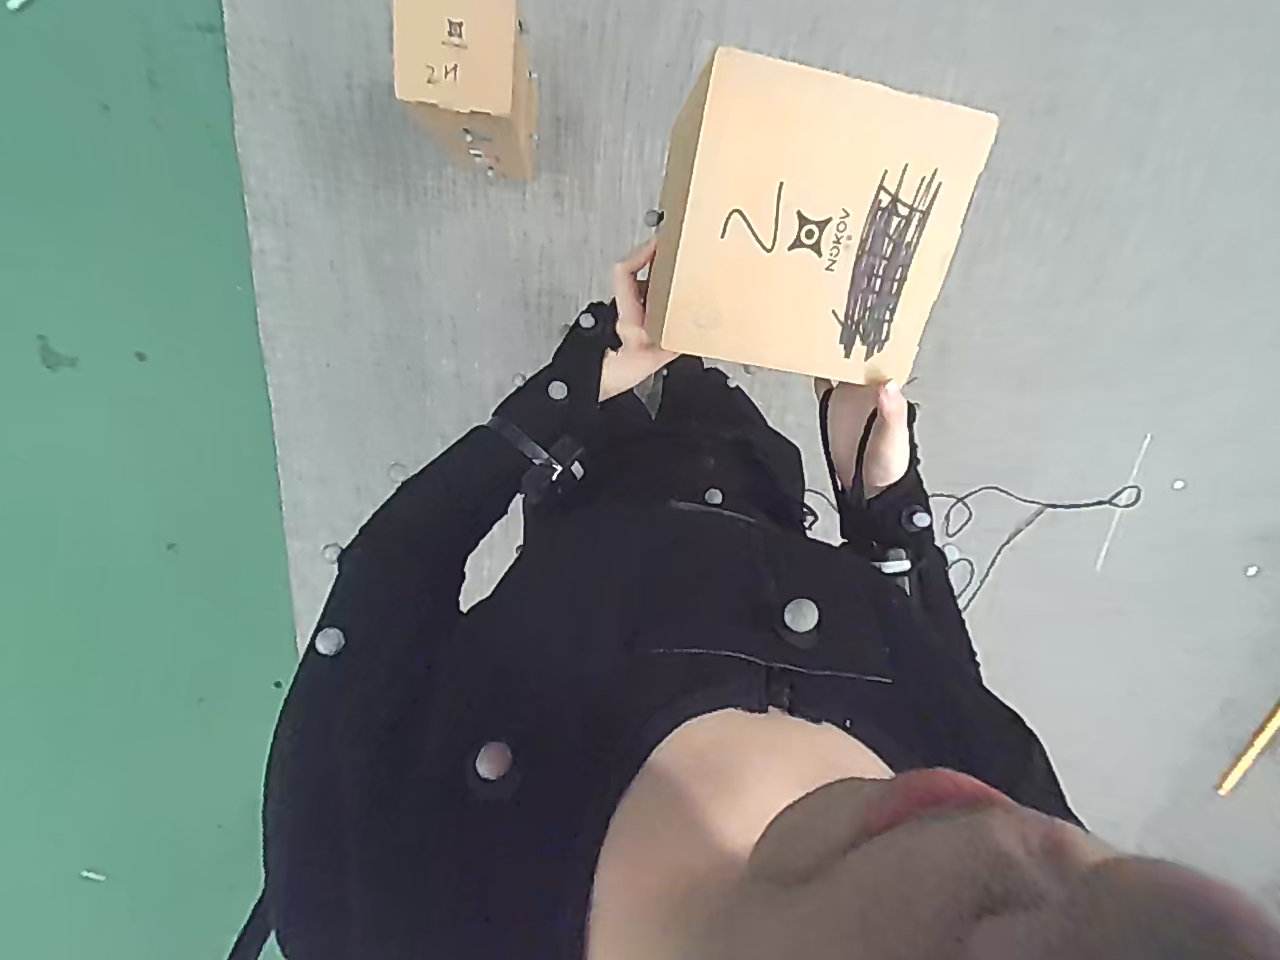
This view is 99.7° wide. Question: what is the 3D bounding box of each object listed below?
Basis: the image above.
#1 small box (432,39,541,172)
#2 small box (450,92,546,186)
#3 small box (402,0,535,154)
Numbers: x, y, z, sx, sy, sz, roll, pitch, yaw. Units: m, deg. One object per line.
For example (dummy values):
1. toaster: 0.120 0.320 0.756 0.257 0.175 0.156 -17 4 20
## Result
1. small box: -0.273 -0.689 0.988 0.168 0.176 0.179 5 109 -6
2. small box: -0.293 -0.741 1.141 0.168 0.176 0.179 8 108 -9
3. small box: -0.255 -0.634 0.834 0.168 0.176 0.179 5 107 -6
